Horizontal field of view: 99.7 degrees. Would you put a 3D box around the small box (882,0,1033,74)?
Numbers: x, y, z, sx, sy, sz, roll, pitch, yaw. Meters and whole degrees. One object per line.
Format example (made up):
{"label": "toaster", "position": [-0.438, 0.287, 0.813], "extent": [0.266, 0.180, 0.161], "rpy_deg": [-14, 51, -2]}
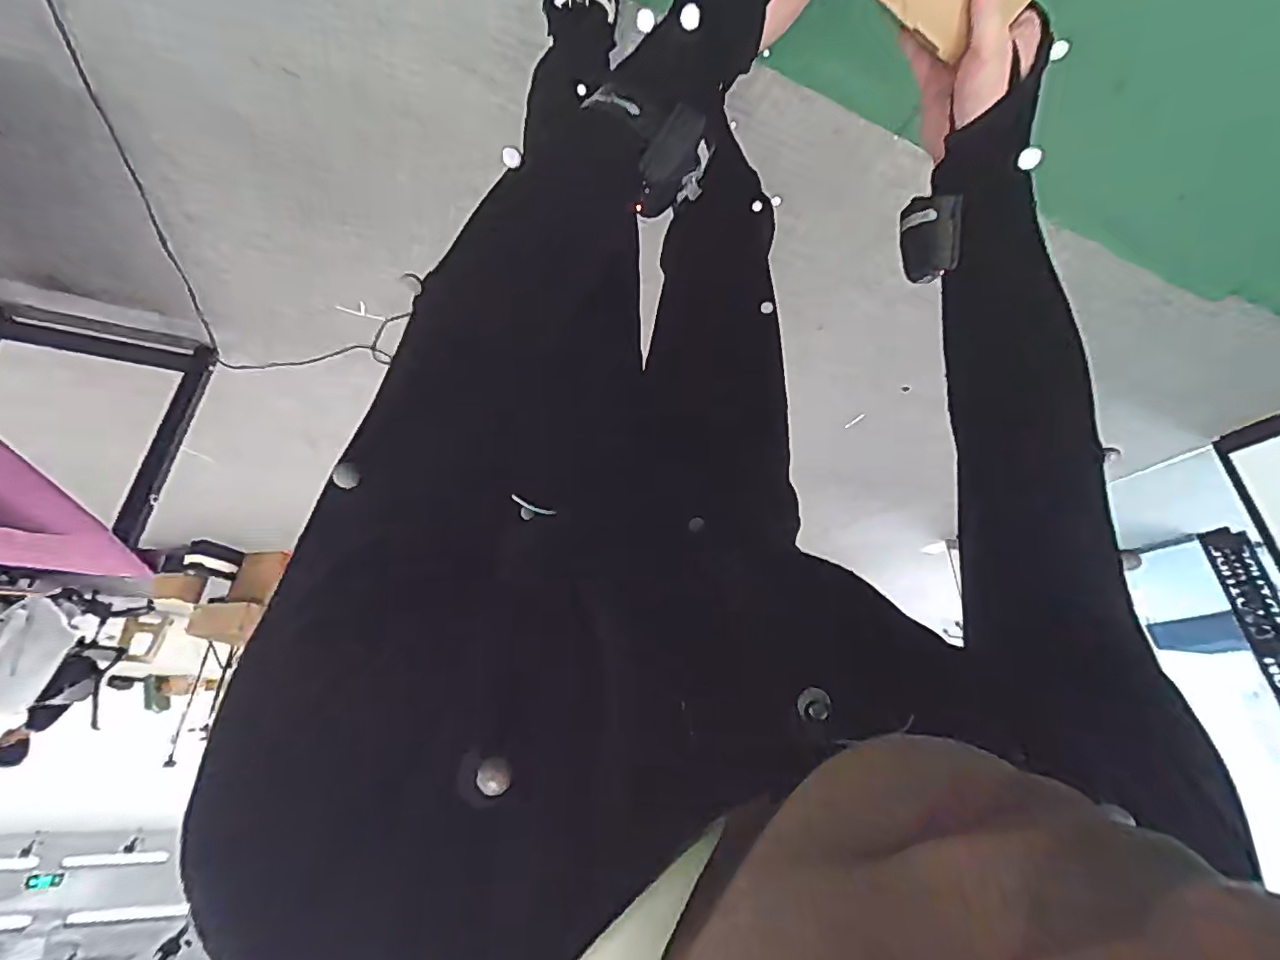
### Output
{"label": "small box", "position": [0.224, -0.449, 0.373], "extent": [0.168, 0.176, 0.179], "rpy_deg": [15, 144, -26]}
